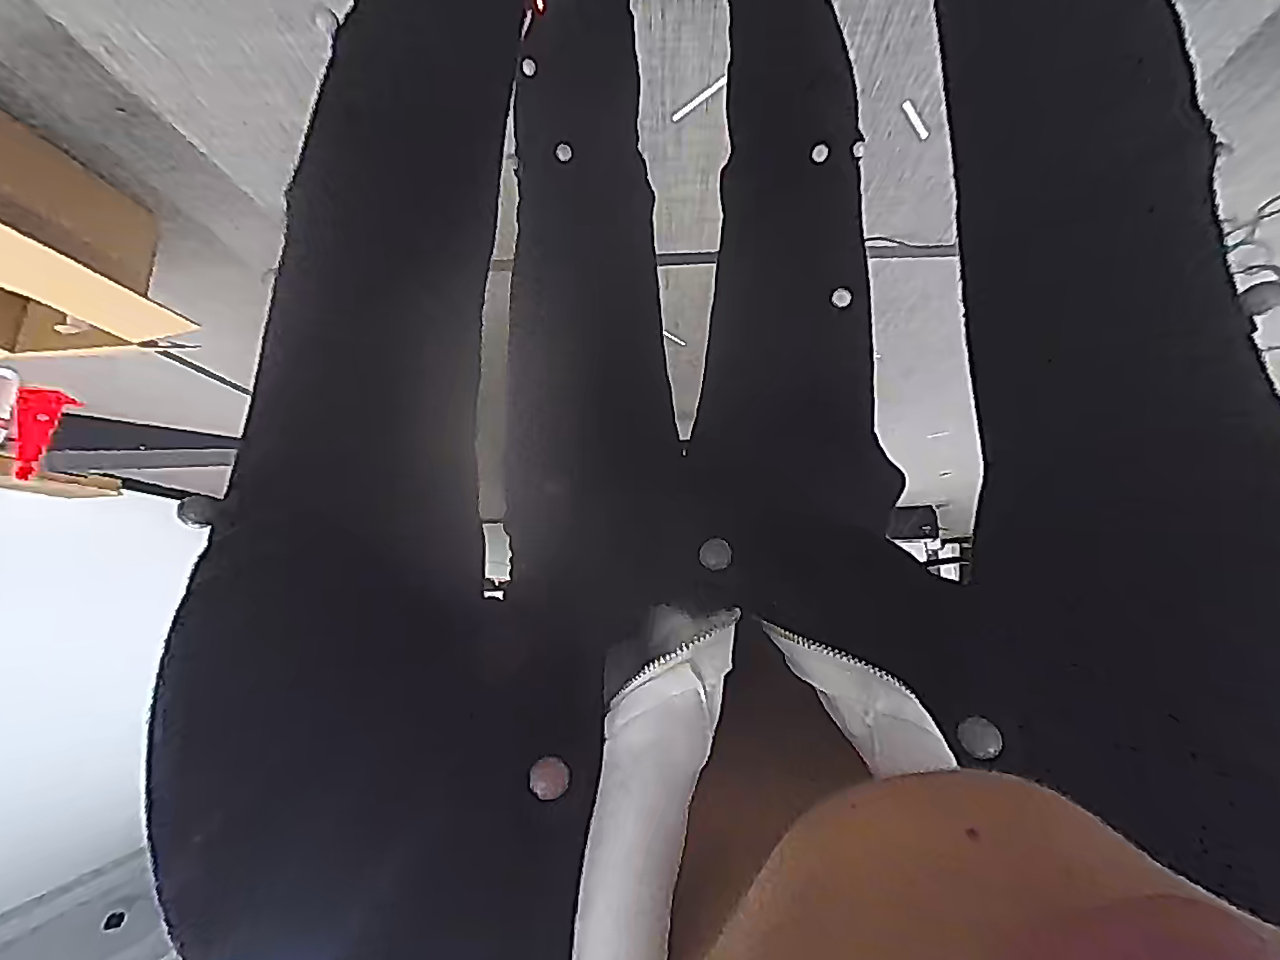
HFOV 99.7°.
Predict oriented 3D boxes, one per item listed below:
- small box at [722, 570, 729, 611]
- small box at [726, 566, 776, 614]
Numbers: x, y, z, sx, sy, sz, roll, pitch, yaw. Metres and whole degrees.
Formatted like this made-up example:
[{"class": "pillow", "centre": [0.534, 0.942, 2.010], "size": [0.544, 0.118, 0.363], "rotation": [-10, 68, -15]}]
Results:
[{"class": "small box", "centre": [0.435, 0.462, 2.264], "size": [0.168, 0.176, 0.179], "rotation": [-1, 167, 2]}, {"class": "small box", "centre": [0.408, 0.406, 2.000], "size": [0.168, 0.176, 0.179], "rotation": [-3, 167, 9]}]
